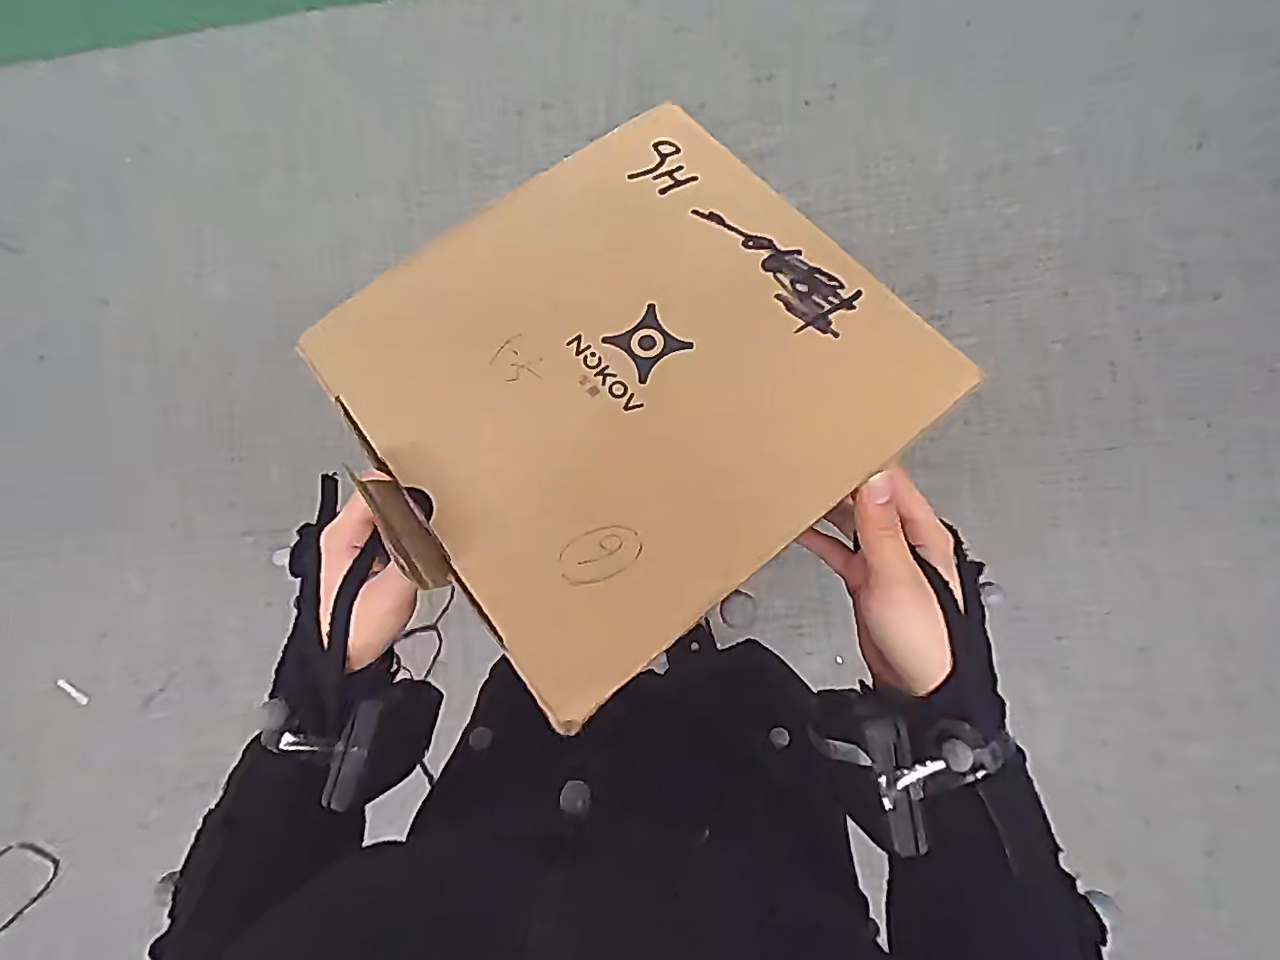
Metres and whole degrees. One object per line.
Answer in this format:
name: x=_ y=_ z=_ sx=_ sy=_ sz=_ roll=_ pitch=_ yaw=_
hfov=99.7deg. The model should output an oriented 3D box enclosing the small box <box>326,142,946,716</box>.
small box: x=-0.002 y=-0.011 z=0.275 sx=0.179 sy=0.176 sz=0.168 roll=-38 pitch=75 yaw=-10
